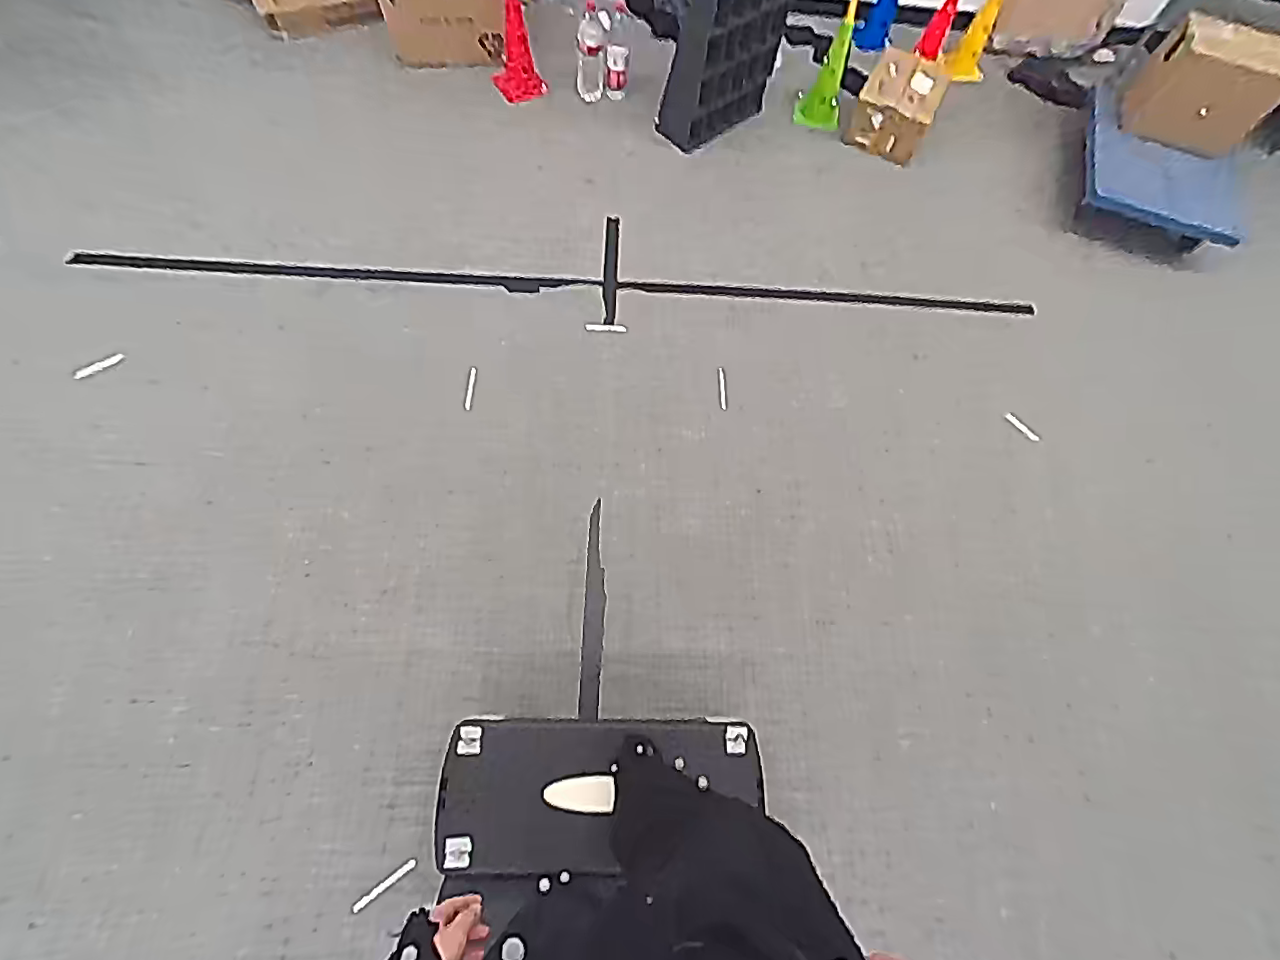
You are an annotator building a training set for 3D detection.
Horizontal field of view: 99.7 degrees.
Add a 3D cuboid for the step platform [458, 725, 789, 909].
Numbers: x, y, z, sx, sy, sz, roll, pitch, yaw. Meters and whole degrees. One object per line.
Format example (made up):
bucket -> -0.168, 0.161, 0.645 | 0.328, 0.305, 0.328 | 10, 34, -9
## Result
step platform -> -0.031, 0.712, 1.166 | 0.684, 0.204, 0.286 | 6, 63, -3
